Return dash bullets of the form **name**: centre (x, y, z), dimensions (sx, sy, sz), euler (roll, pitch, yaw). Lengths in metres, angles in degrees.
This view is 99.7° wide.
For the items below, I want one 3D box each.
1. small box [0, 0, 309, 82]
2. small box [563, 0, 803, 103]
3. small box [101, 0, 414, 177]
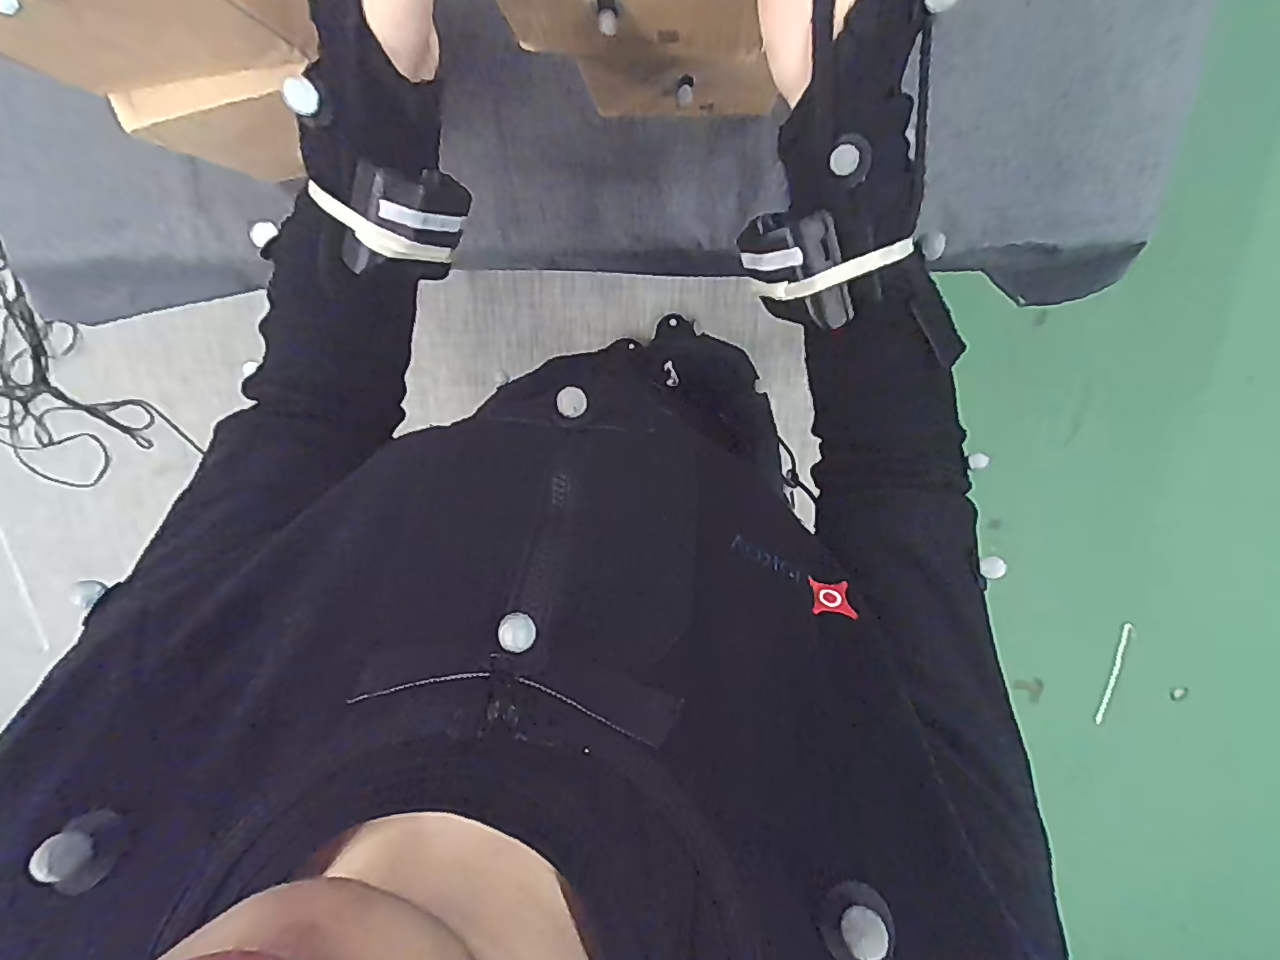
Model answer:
- **small box**: centre (-0.329, -0.347, 0.292), dimensions (0.179, 0.176, 0.168), euler (-4, 107, 5)
- **small box**: centre (0.036, -0.414, 0.417), dimensions (0.168, 0.176, 0.179), euler (1, 108, 4)
- **small box**: centre (-0.321, -0.383, 0.452), dimensions (0.168, 0.176, 0.179), euler (-9, 107, 7)
